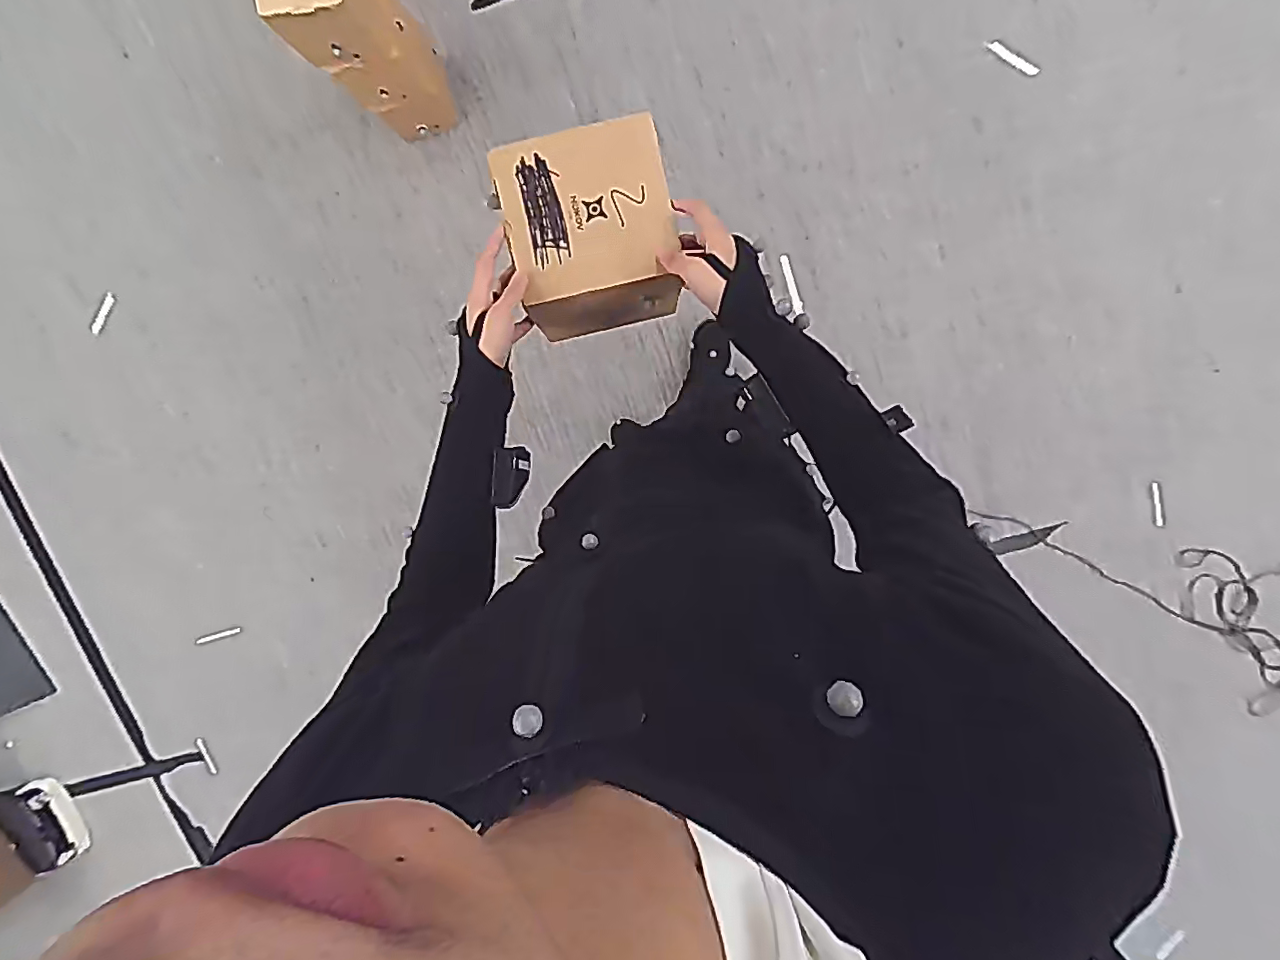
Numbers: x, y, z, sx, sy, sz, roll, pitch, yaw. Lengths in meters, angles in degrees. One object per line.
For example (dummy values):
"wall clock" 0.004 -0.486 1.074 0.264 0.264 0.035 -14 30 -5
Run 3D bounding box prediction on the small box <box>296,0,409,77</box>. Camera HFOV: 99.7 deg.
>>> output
"small box" -0.615 -0.997 1.132 0.168 0.176 0.179 -11 101 4

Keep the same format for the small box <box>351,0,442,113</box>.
"small box" -0.600 -1.027 1.291 0.168 0.176 0.179 -14 100 4
